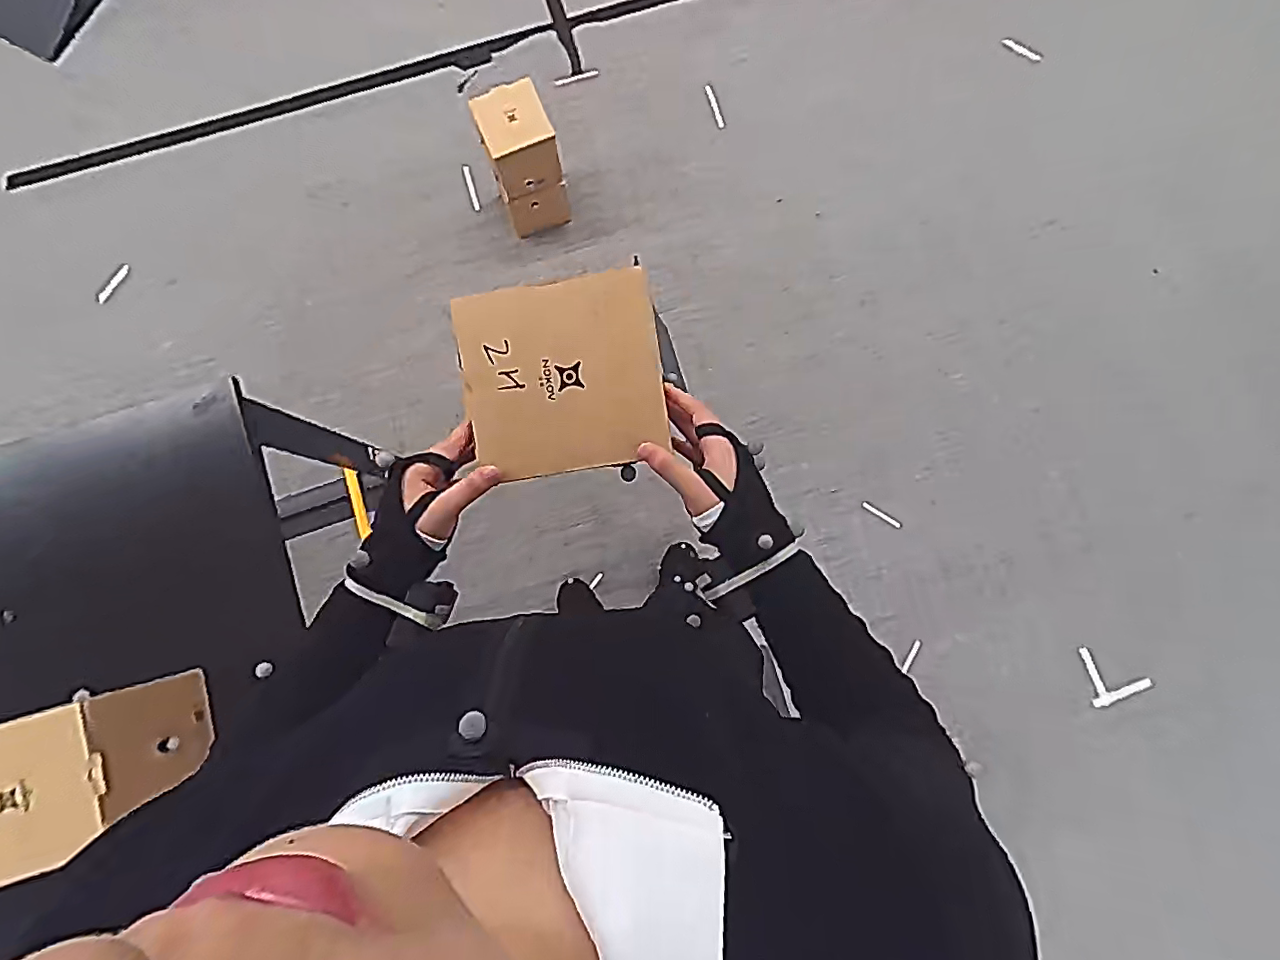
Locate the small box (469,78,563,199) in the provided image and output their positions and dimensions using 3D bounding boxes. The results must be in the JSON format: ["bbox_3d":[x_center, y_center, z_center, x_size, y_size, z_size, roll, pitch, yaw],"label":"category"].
[{"bbox_3d":[-0.314,-0.875,1.399,0.168,0.176,0.179,-24,85,-2],"label":"small box"}]

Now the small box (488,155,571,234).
[{"bbox_3d":[-0.312,-0.844,1.559,0.179,0.176,0.168,-21,84,-4],"label":"small box"}]

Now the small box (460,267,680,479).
[{"bbox_3d":[-0.057,-0.097,0.549,0.179,0.176,0.168,-8,93,5],"label":"small box"}]

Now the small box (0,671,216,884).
[{"bbox_3d":[-0.670,0.353,0.668,0.179,0.176,0.168,-16,83,-3],"label":"small box"}]
